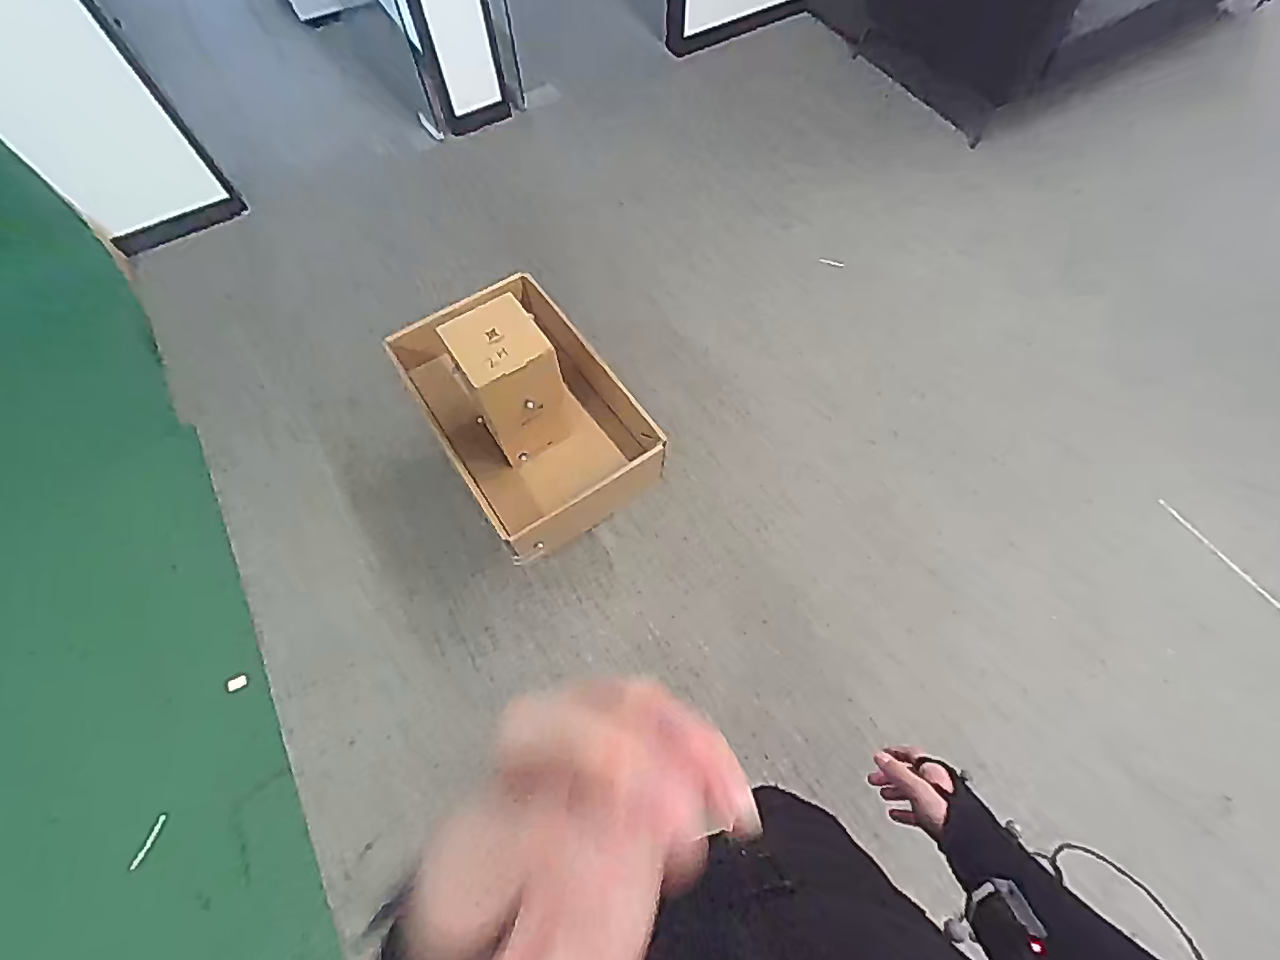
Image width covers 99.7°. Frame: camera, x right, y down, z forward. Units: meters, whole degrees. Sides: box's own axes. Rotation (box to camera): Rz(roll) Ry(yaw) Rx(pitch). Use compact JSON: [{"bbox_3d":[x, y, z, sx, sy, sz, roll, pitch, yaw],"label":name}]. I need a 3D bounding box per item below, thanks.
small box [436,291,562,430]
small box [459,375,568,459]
[{"bbox_3d":[-0.274,-0.234,1.083,0.168,0.176,0.179,-32,68,-13],"label":"small box"},{"bbox_3d":[-0.280,-0.170,1.235,0.168,0.176,0.179,-31,67,-14],"label":"small box"}]
